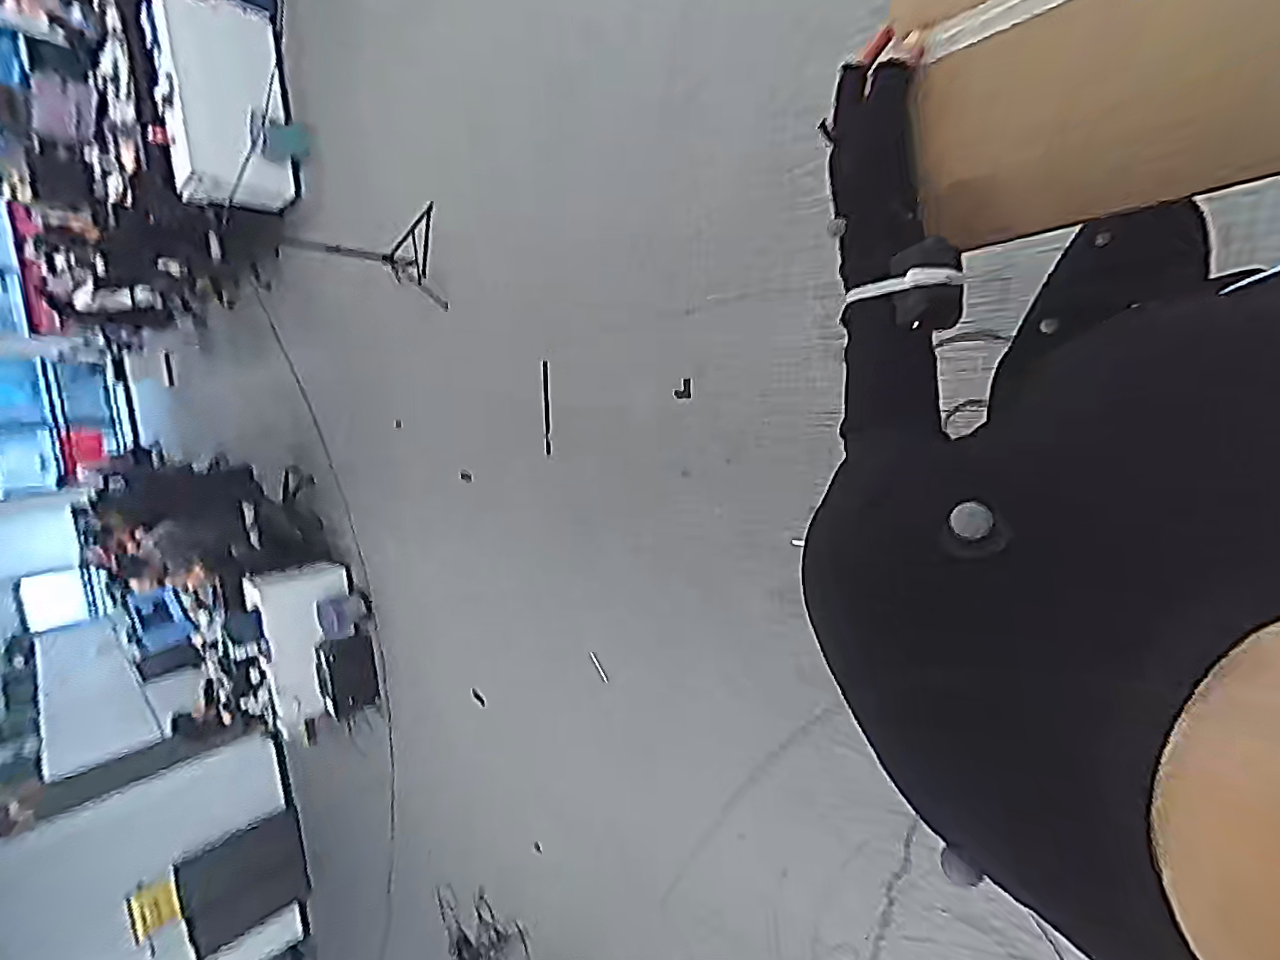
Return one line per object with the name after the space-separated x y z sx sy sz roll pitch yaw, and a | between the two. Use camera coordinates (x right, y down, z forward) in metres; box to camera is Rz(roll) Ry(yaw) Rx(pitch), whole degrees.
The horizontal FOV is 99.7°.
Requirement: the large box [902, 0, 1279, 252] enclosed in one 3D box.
0.459 -0.407 0.428 0.408 0.320 0.320 -1 113 39 | large box
